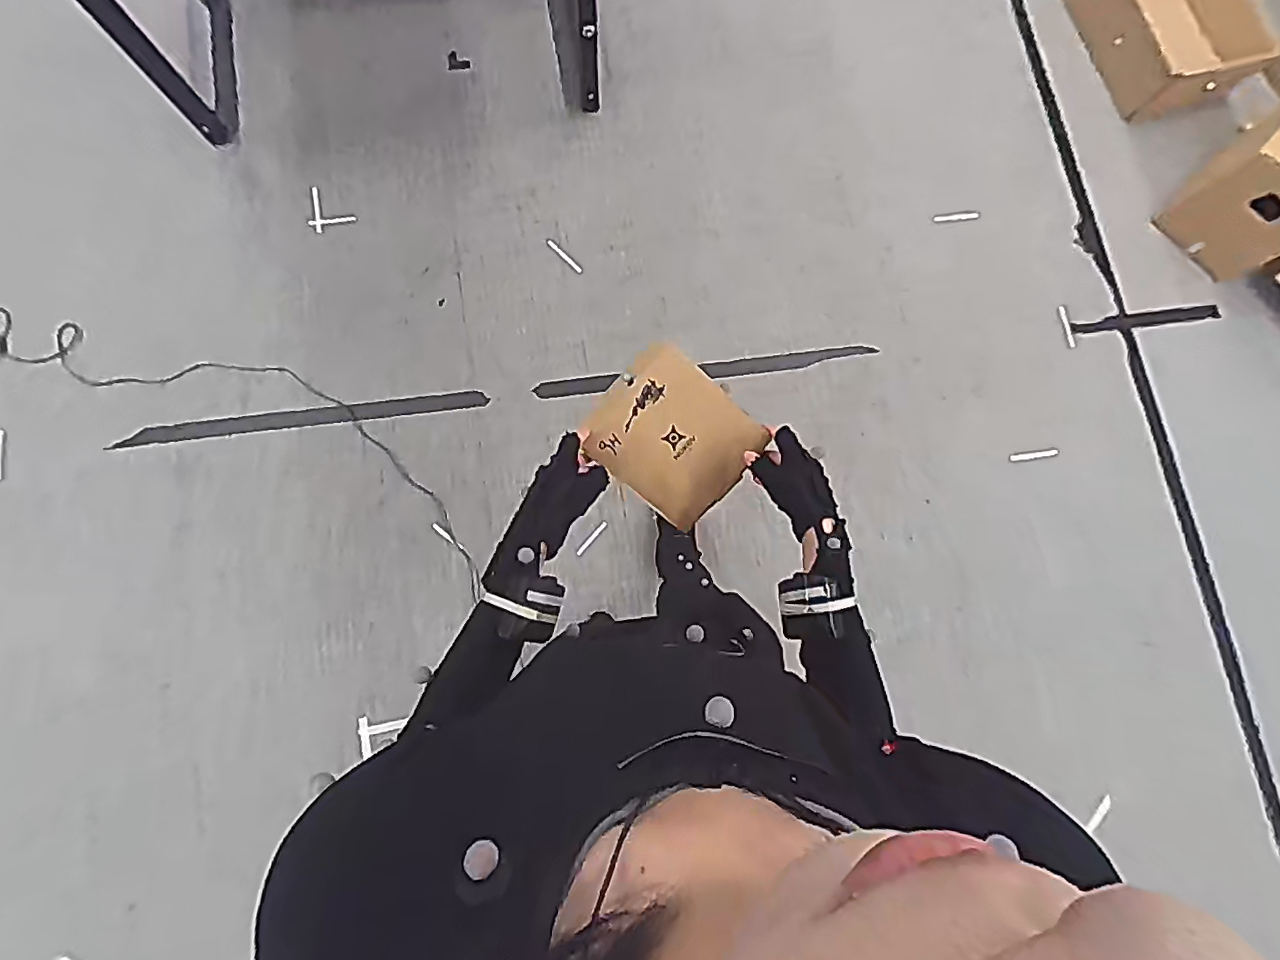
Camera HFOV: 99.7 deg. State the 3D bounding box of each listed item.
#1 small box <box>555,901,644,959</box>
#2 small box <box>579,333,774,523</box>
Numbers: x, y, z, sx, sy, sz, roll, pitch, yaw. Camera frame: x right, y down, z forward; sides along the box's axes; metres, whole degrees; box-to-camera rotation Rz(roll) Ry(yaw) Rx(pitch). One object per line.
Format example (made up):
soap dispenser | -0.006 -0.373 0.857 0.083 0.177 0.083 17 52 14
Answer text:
small box | -0.090 1.154 1.267 0.168 0.176 0.179 -27 82 -7
small box | 0.038 -0.079 0.712 0.179 0.176 0.168 39 98 -15
